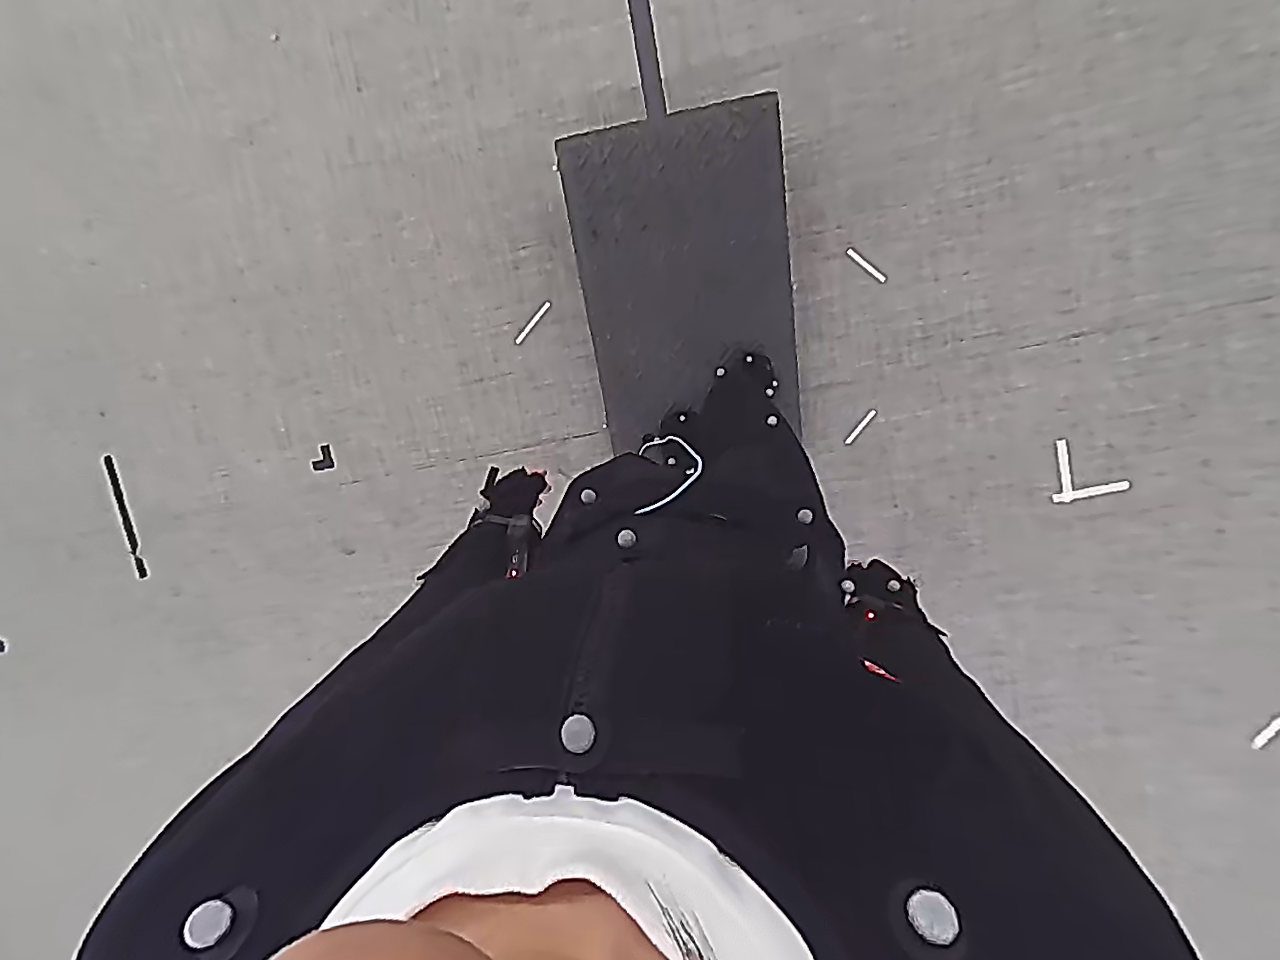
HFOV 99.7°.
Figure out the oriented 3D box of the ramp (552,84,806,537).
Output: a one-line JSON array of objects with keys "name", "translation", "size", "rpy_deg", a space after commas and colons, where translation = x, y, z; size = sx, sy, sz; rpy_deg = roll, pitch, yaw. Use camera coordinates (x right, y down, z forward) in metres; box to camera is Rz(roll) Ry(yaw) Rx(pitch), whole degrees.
[{"name": "ramp", "translation": [0.128, -0.332, 1.323], "size": [0.509, 0.206, 0.991], "rpy_deg": [-9, 99, 8]}]
